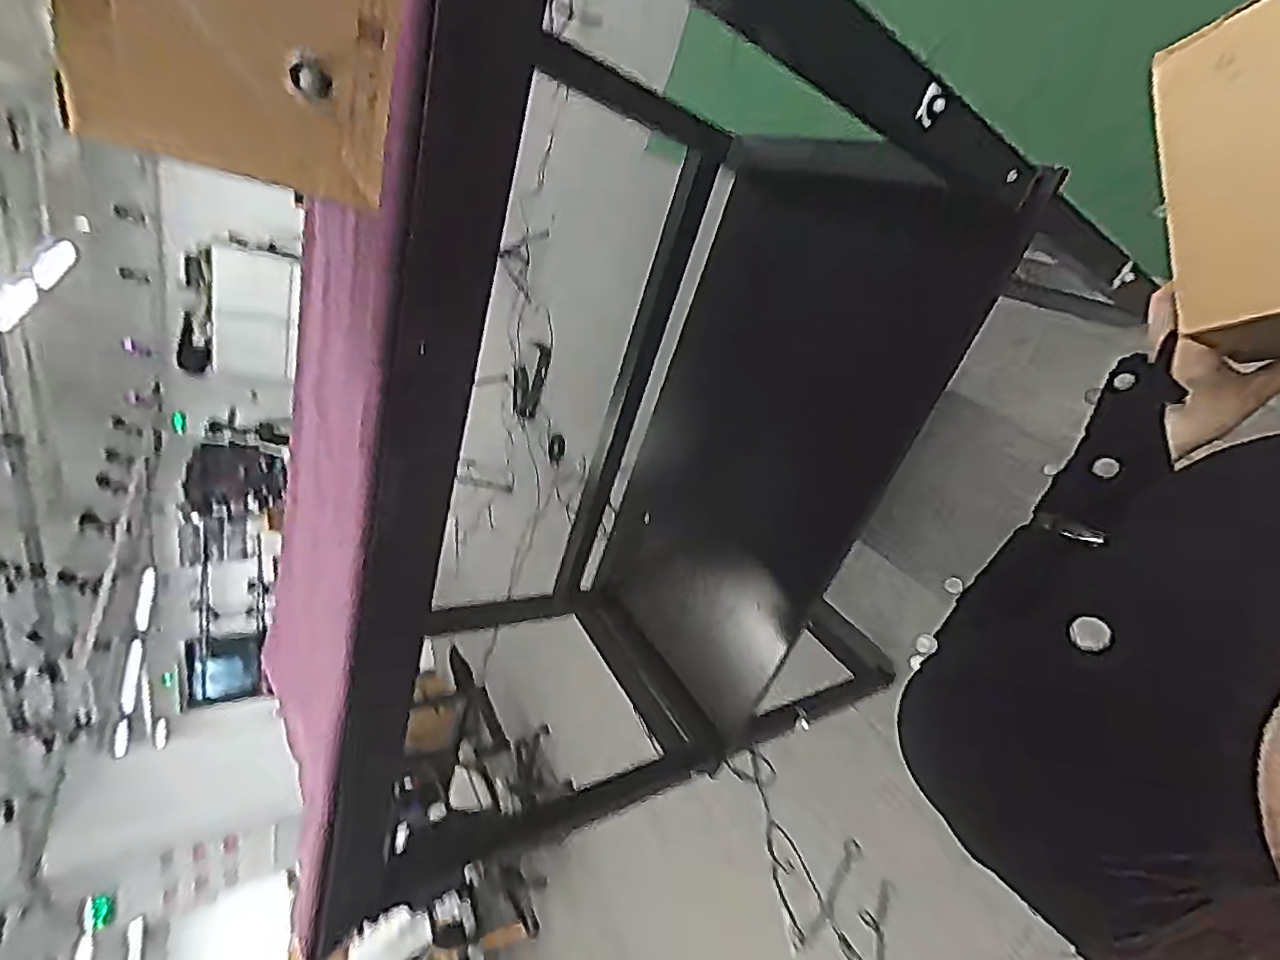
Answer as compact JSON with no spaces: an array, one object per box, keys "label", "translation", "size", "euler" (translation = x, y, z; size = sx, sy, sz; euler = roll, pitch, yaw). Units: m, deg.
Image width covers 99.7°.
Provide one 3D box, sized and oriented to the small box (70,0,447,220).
[{"label":"small box","translation":[-0.245,-0.298,0.357],"size":[0.179,0.176,0.168],"euler":[54,131,37]}]
